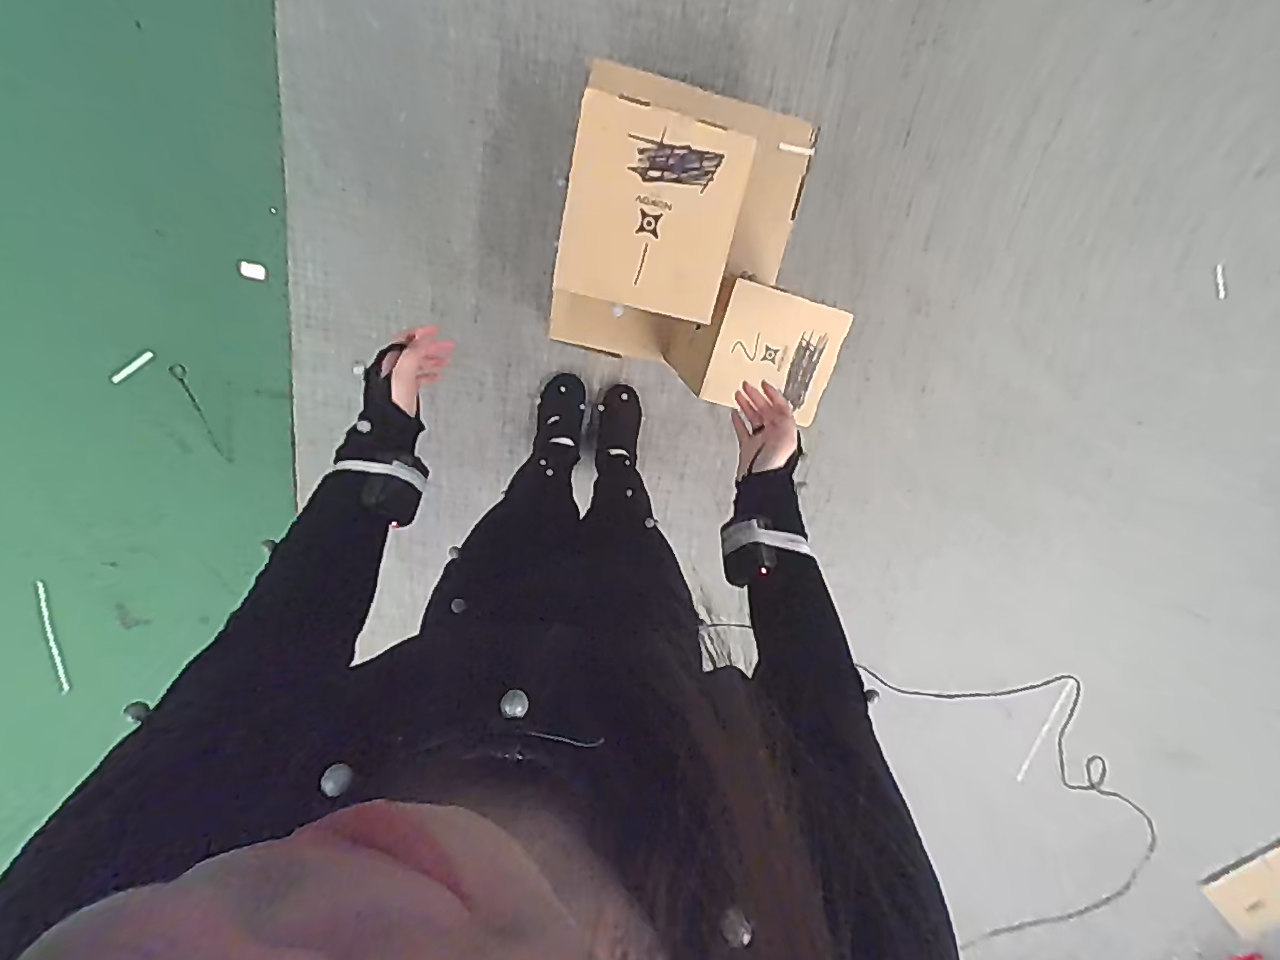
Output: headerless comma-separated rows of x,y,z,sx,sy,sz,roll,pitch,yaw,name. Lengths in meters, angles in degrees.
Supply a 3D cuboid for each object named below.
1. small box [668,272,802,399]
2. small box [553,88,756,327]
0.157,-0.259,0.961,0.168,0.176,0.179,12,107,-10,small box
0.003,-0.280,0.591,0.168,0.176,0.179,11,109,-10,small box
